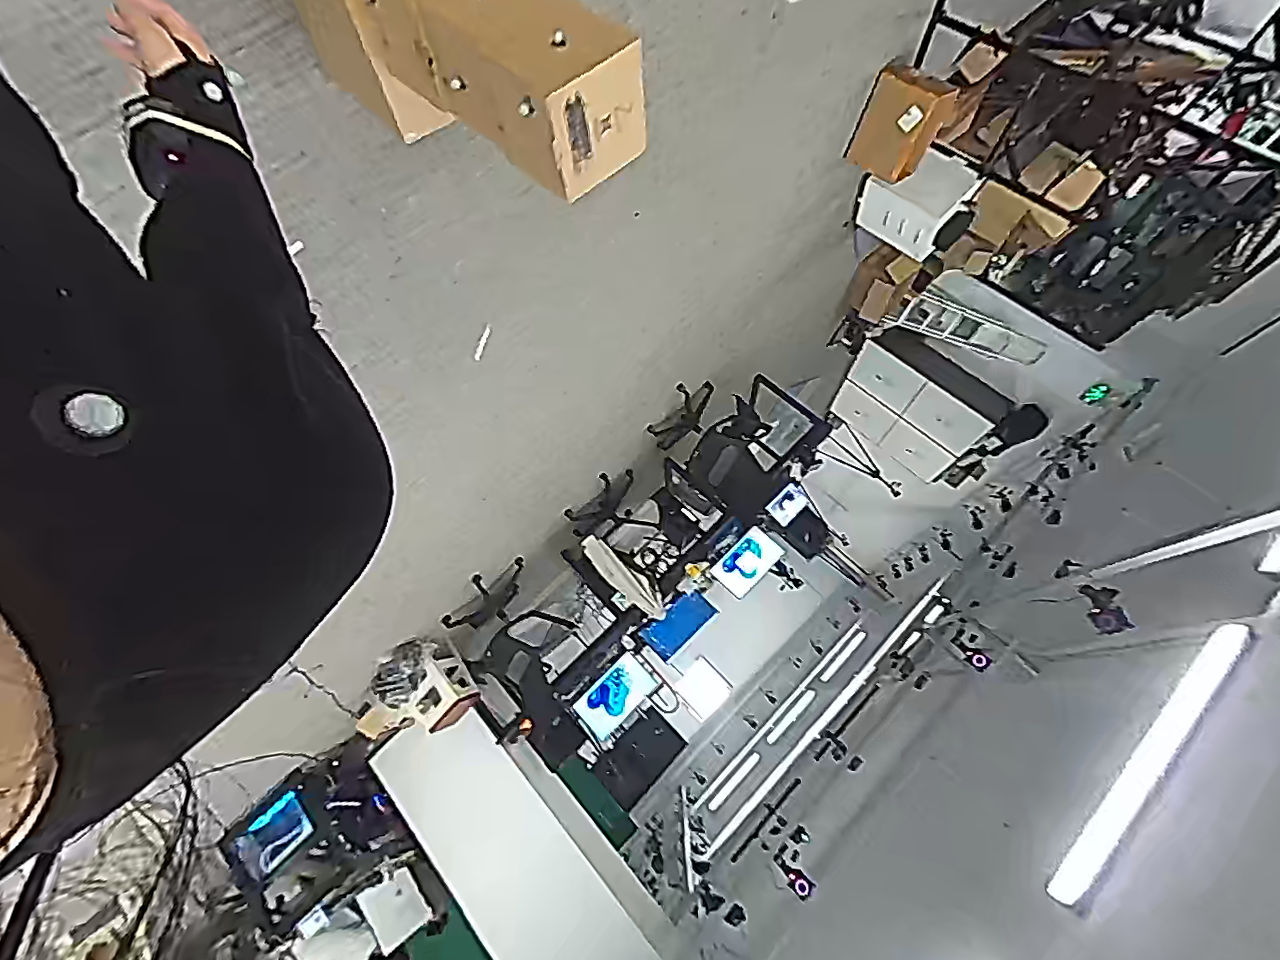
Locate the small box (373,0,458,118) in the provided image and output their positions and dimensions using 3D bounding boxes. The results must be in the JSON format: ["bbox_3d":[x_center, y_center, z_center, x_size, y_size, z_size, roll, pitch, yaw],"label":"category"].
[{"bbox_3d":[-0.336,-0.781,0.941,0.179,0.176,0.168,-41,160,-19],"label":"small box"}]

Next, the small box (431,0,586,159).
[{"bbox_3d":[-0.216,-0.681,0.890,0.179,0.176,0.168,-40,161,-15],"label":"small box"}]
